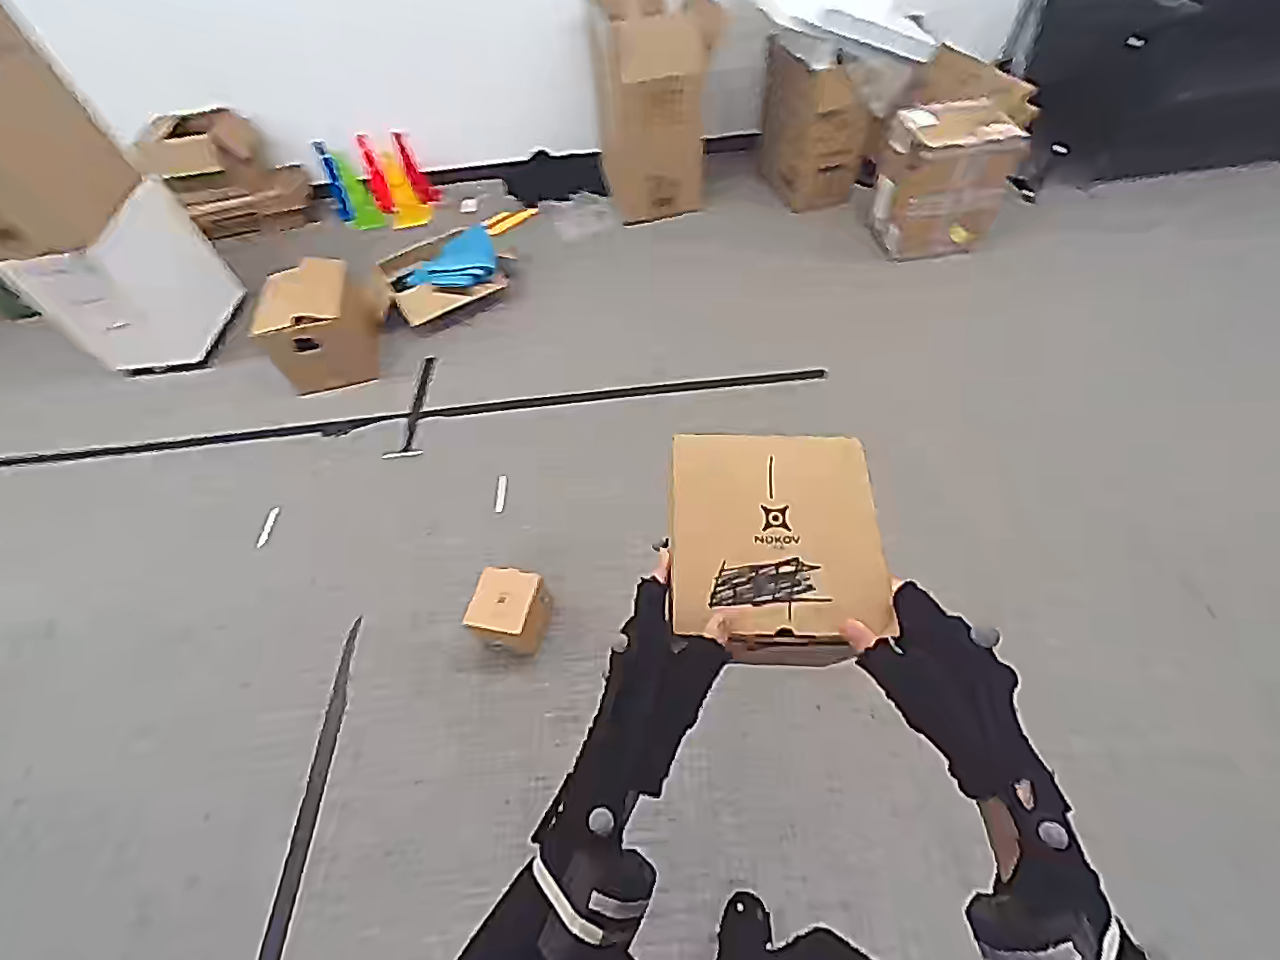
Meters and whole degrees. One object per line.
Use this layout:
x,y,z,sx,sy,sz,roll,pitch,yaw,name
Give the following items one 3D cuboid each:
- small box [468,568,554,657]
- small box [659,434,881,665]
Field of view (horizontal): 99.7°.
-0.353,0.373,1.519,0.168,0.176,0.179,7,55,12,small box
0.103,0.074,0.508,0.168,0.176,0.179,1,64,2,small box
